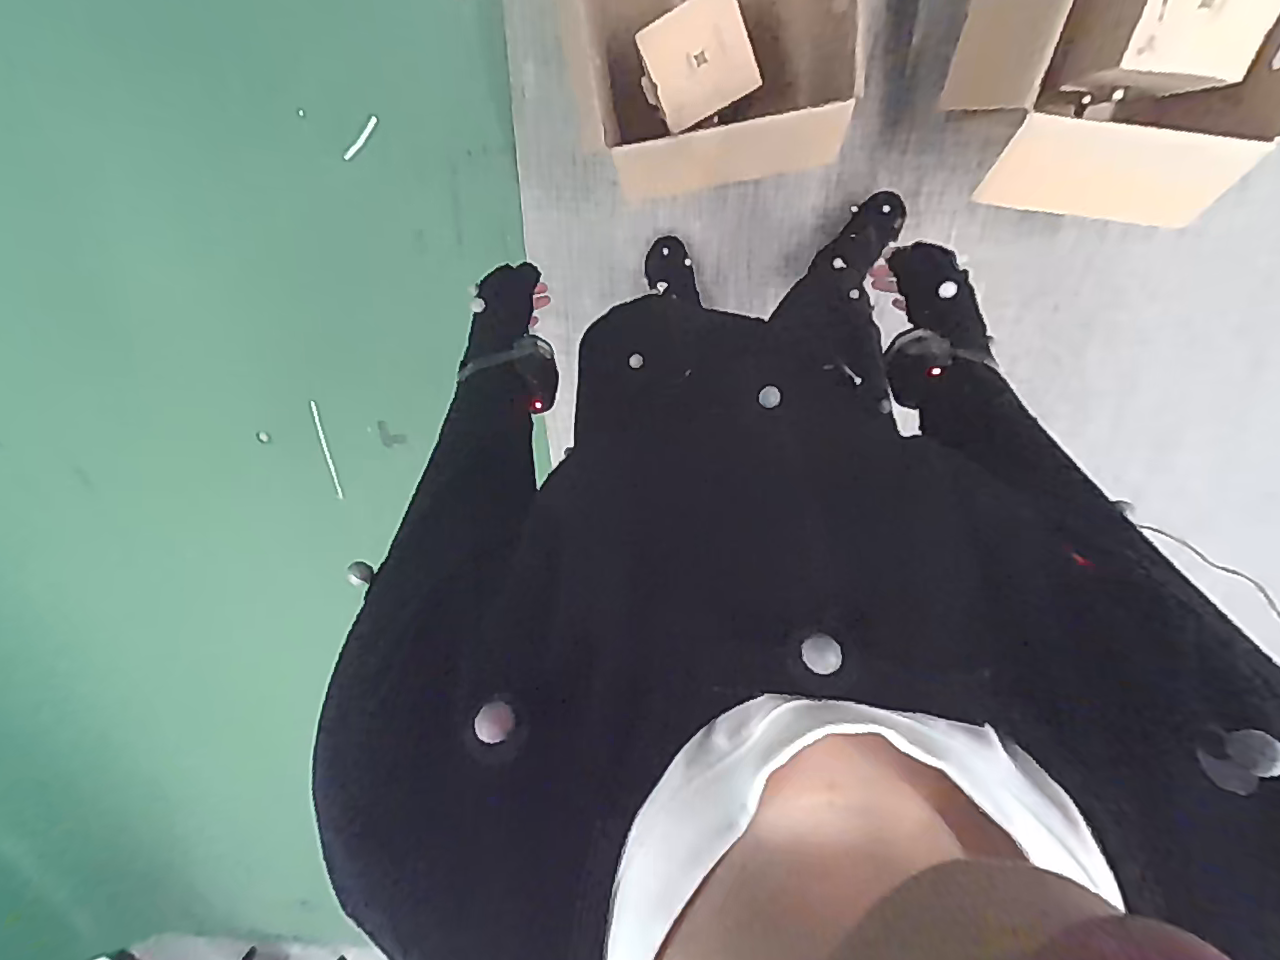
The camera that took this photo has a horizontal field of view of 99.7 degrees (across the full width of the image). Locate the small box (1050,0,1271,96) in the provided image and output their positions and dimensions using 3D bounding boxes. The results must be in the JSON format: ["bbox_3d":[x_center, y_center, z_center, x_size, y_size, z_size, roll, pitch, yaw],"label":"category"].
[{"bbox_3d":[0.788,-0.699,0.819,0.179,0.176,0.168,7,119,1],"label":"small box"}]
